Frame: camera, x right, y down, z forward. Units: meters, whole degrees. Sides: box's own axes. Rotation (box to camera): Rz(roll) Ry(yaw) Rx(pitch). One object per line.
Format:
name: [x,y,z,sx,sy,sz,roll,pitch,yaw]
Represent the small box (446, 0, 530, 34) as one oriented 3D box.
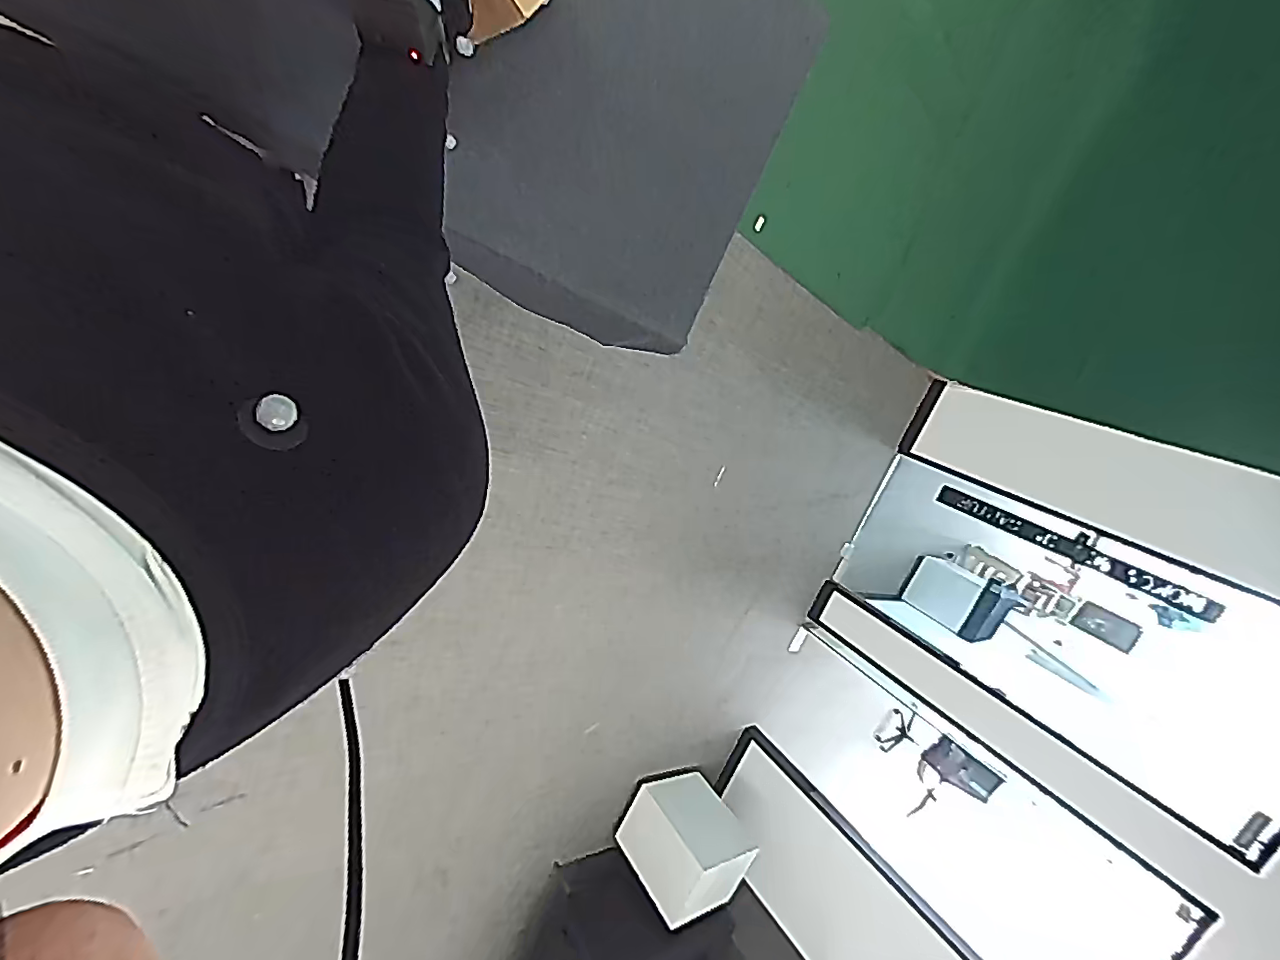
small box: [-0.158,-0.628,0.580,0.179,0.176,0.168,-47,134,-4]
